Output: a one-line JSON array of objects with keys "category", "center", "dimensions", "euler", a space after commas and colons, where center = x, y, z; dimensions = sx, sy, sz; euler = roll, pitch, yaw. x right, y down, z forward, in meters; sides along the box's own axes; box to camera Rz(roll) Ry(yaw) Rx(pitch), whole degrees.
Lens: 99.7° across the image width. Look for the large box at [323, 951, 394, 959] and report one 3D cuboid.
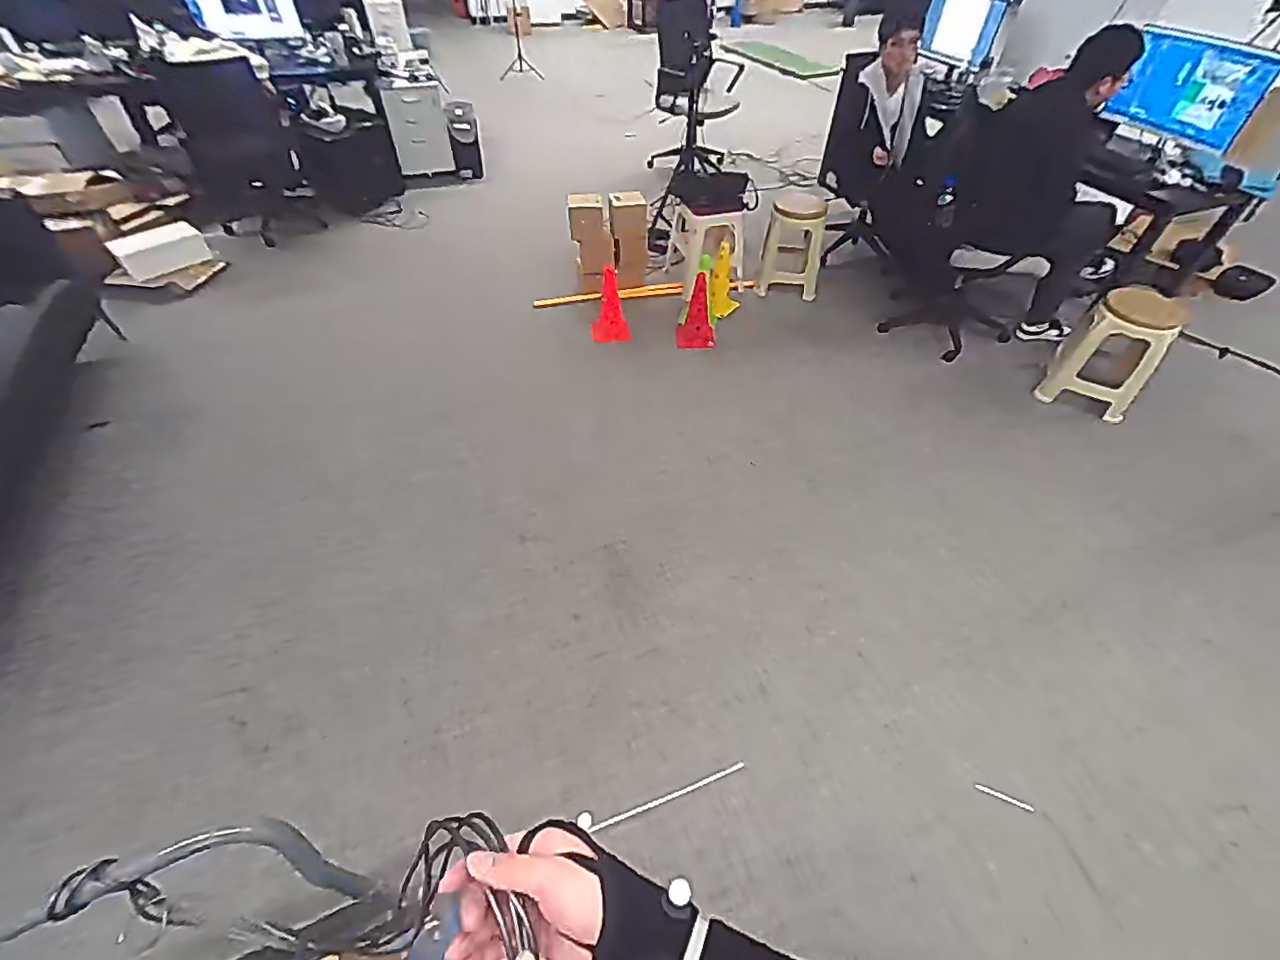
[{"category": "large box", "center": [-0.537, 1.034, 0.816], "dimensions": [0.320, 0.320, 0.408], "euler": [-18, 51, -17]}]
